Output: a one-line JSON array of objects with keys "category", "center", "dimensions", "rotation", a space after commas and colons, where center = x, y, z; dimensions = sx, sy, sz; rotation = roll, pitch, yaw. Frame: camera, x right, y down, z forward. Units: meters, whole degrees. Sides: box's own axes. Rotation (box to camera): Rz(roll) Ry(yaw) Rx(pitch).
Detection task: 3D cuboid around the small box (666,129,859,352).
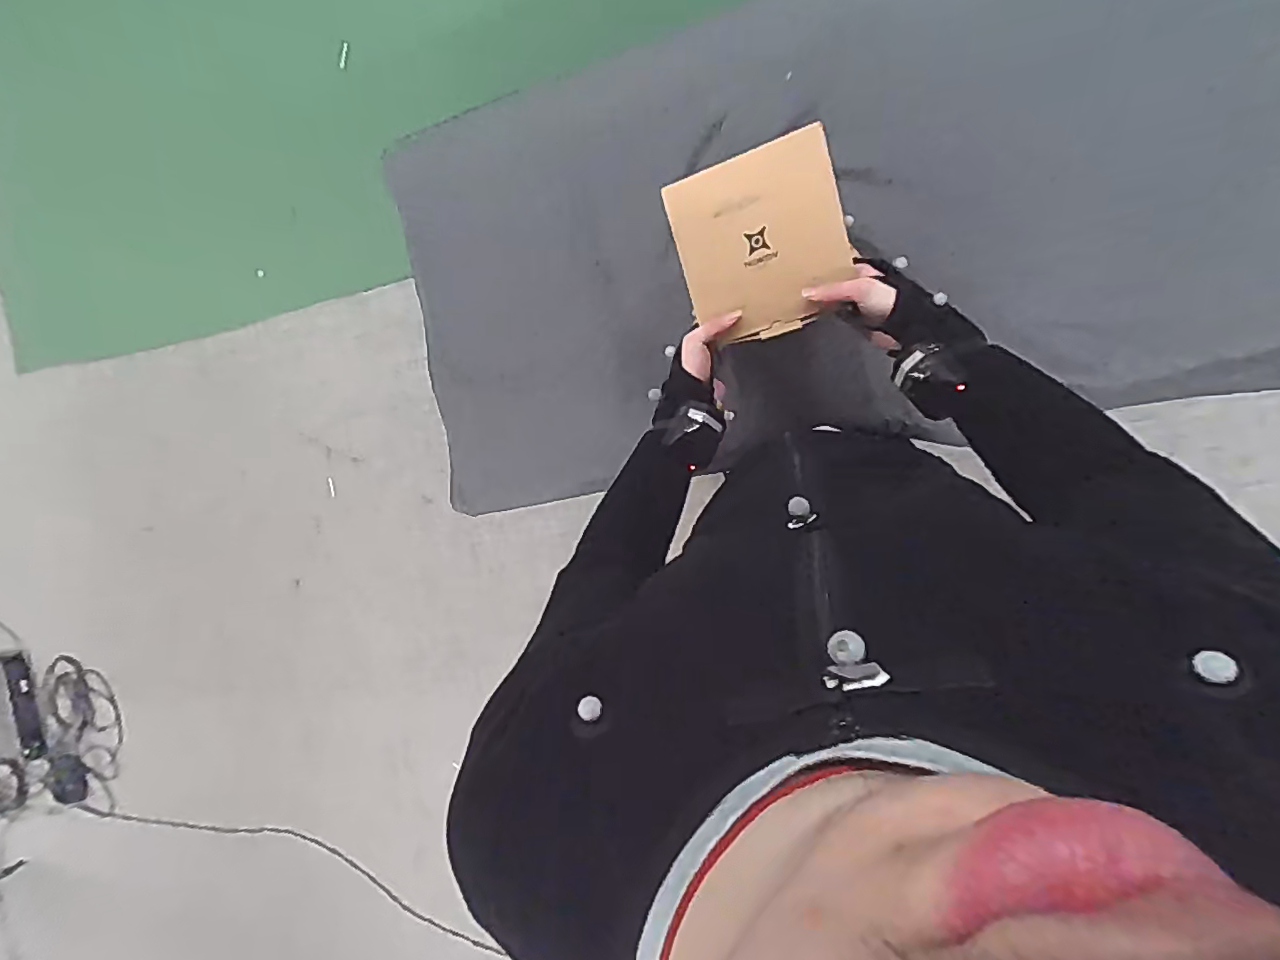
[{"category": "small box", "center": [0.146, -0.266, 0.635], "dimensions": [0.168, 0.176, 0.179], "rotation": [-15, 103, 17]}]
